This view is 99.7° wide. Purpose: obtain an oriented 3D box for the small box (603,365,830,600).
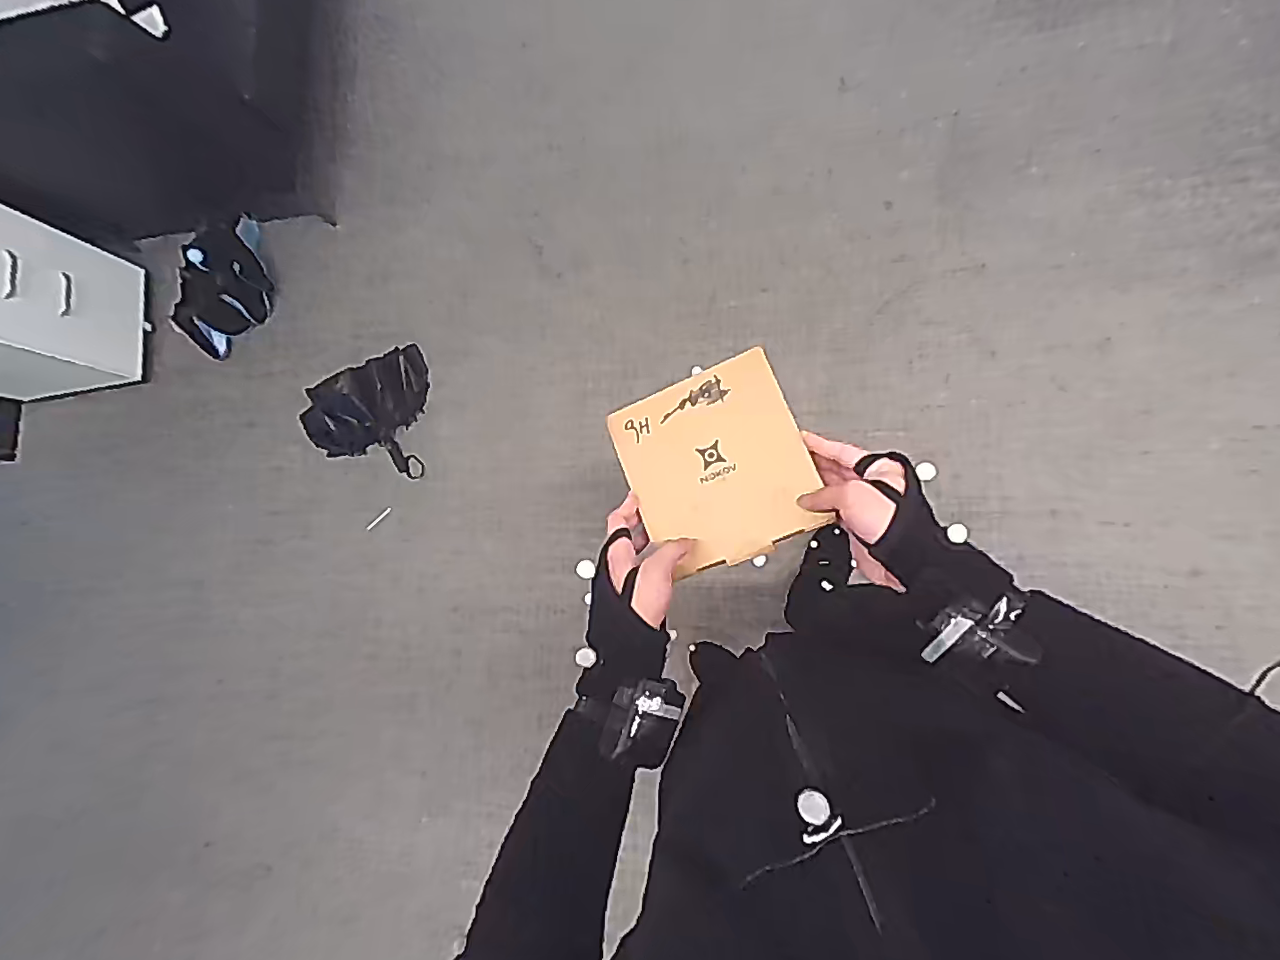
[{"bbox_3d":[0.088,0.009,0.573,0.168,0.176,0.179,-24,79,13],"label":"small box"}]
